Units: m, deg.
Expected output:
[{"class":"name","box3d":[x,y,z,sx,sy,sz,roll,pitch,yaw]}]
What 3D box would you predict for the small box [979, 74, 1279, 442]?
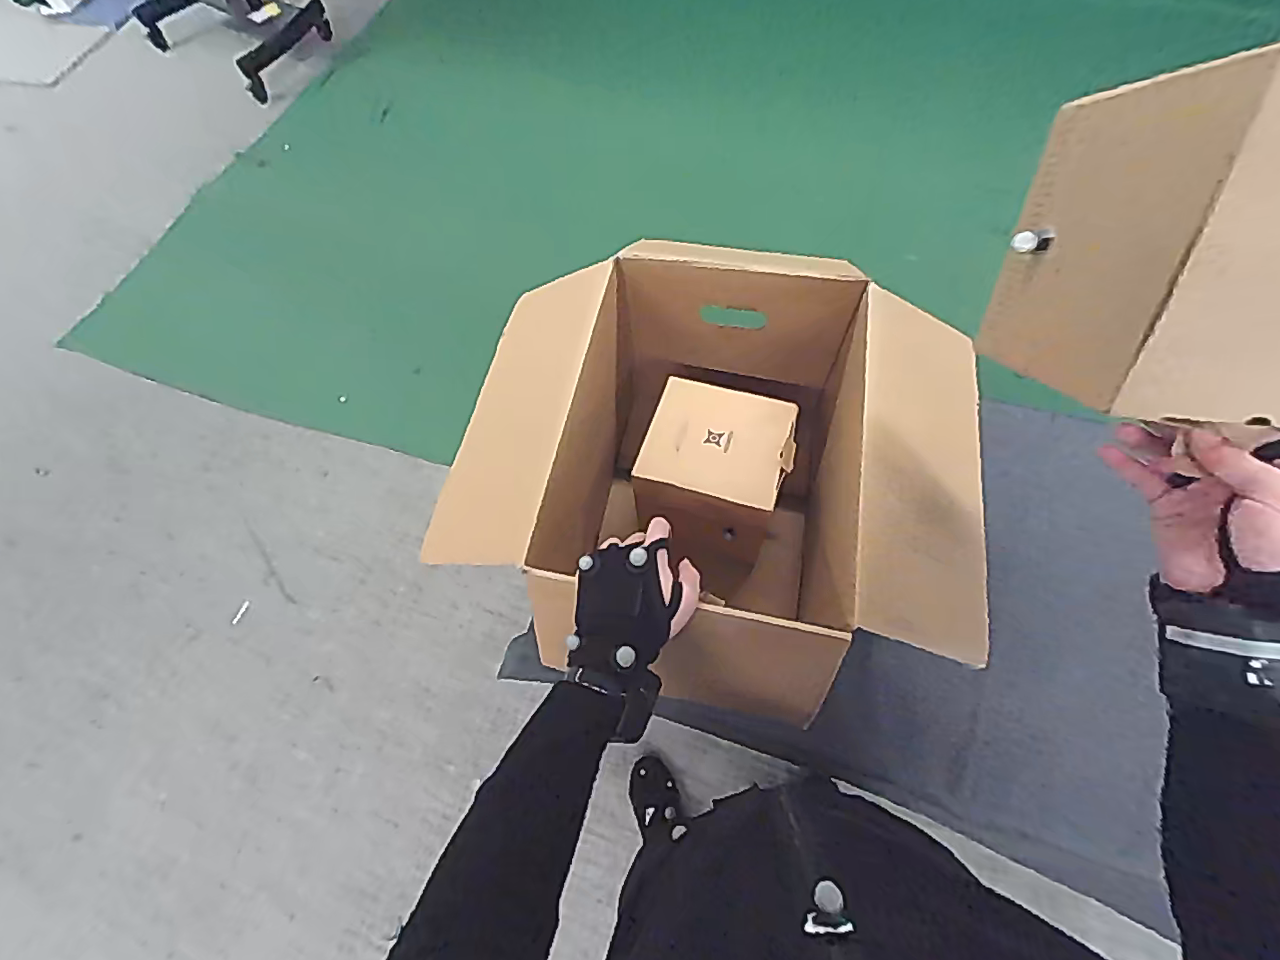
[{"class":"small box","box3d":[0.361,-0.139,0.355,0.168,0.179,0.176,5,27,3]}]
